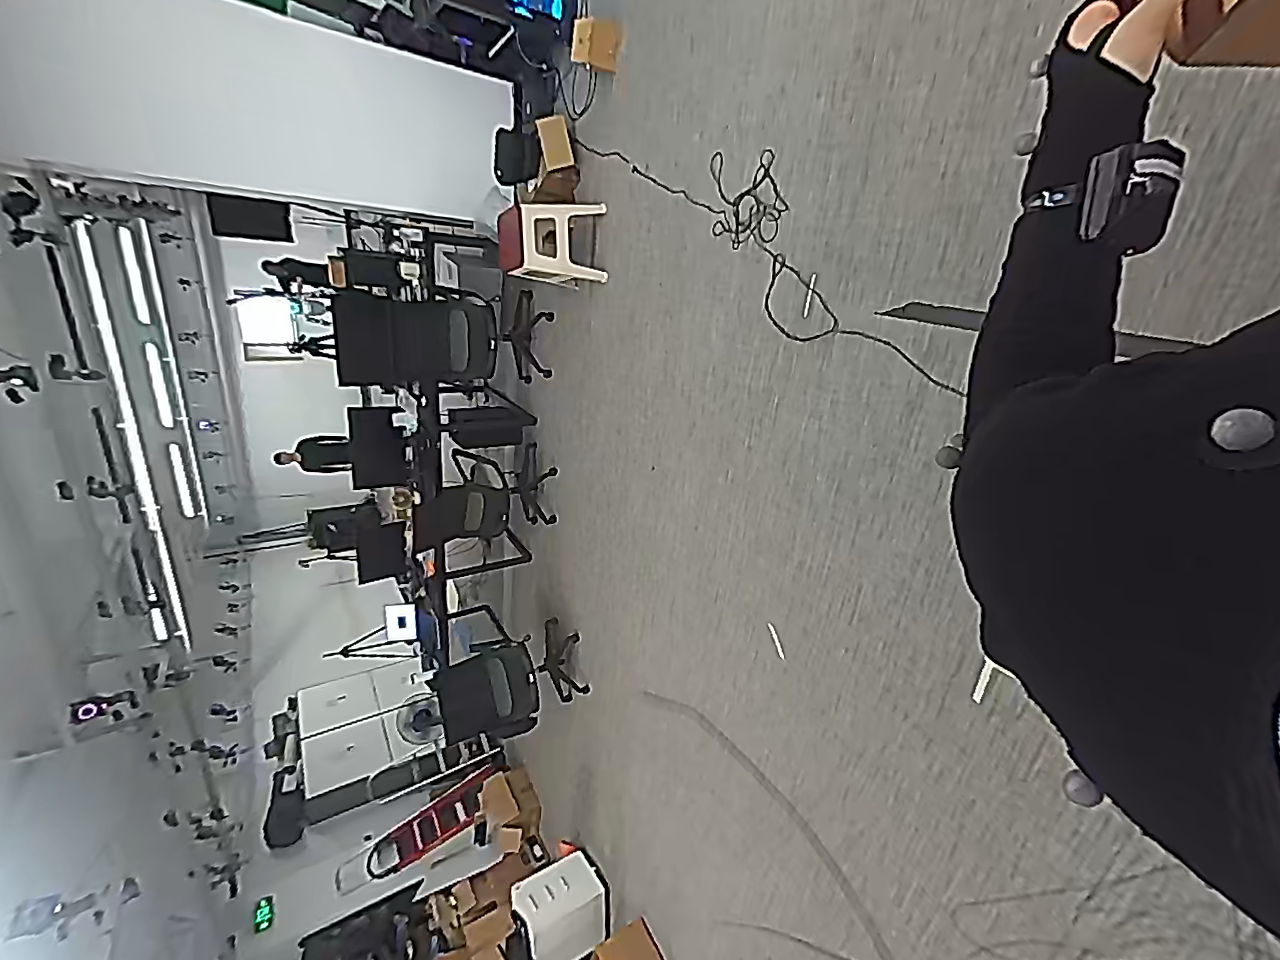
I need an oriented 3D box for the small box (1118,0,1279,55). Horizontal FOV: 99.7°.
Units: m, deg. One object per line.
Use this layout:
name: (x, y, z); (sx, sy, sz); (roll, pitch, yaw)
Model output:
small box: (0.437, -0.423, 0.354); (0.179, 0.176, 0.168); (117, 135, -63)
